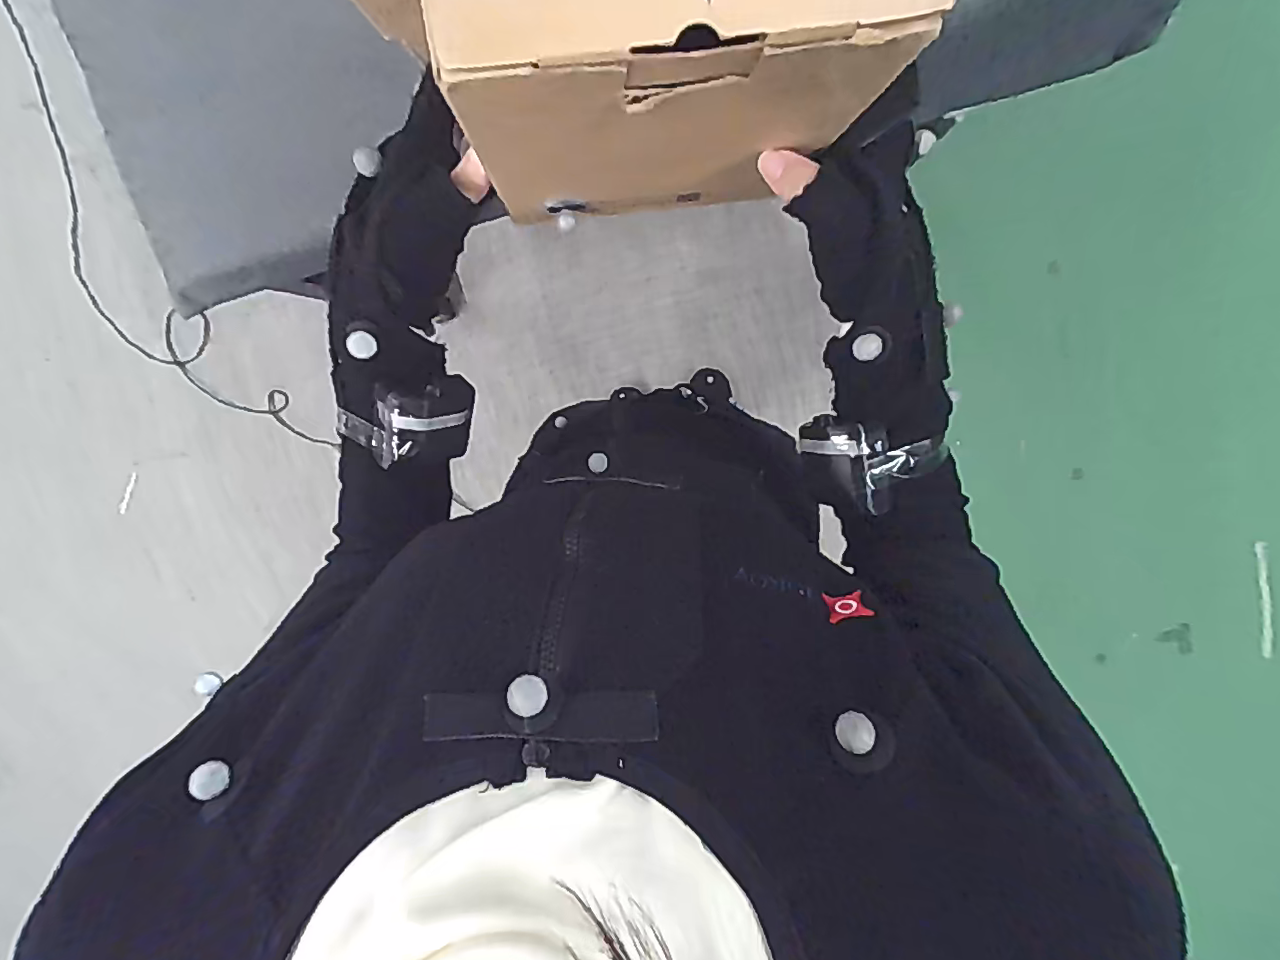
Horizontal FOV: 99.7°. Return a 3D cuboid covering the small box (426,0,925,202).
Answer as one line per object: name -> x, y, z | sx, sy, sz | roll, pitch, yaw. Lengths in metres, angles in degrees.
small box -> 0.001, -0.240, 0.239 | 0.168, 0.176, 0.179 | -7, 100, -3
